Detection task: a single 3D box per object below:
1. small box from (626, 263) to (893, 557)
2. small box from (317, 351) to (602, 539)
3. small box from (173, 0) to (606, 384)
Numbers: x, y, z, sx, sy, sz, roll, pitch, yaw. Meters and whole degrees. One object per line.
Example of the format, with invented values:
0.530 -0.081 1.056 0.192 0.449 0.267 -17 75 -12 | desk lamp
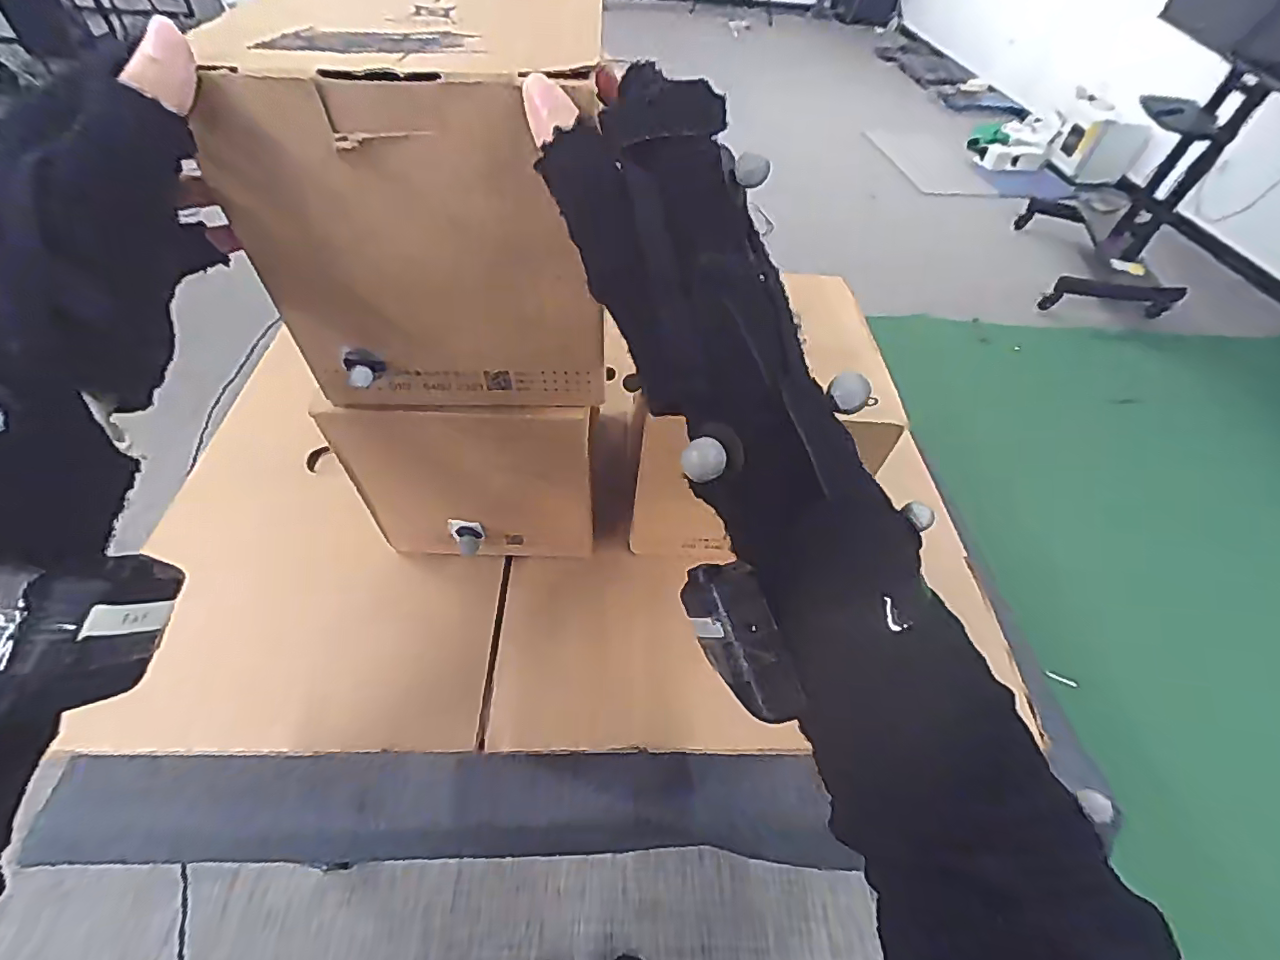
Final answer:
0.076 -0.057 0.460 0.168 0.176 0.179 3 50 -4 | small box
-0.117 -0.070 0.438 0.168 0.176 0.179 -1 53 -3 | small box
-0.106 -0.168 0.327 0.168 0.176 0.179 0 49 -3 | small box
